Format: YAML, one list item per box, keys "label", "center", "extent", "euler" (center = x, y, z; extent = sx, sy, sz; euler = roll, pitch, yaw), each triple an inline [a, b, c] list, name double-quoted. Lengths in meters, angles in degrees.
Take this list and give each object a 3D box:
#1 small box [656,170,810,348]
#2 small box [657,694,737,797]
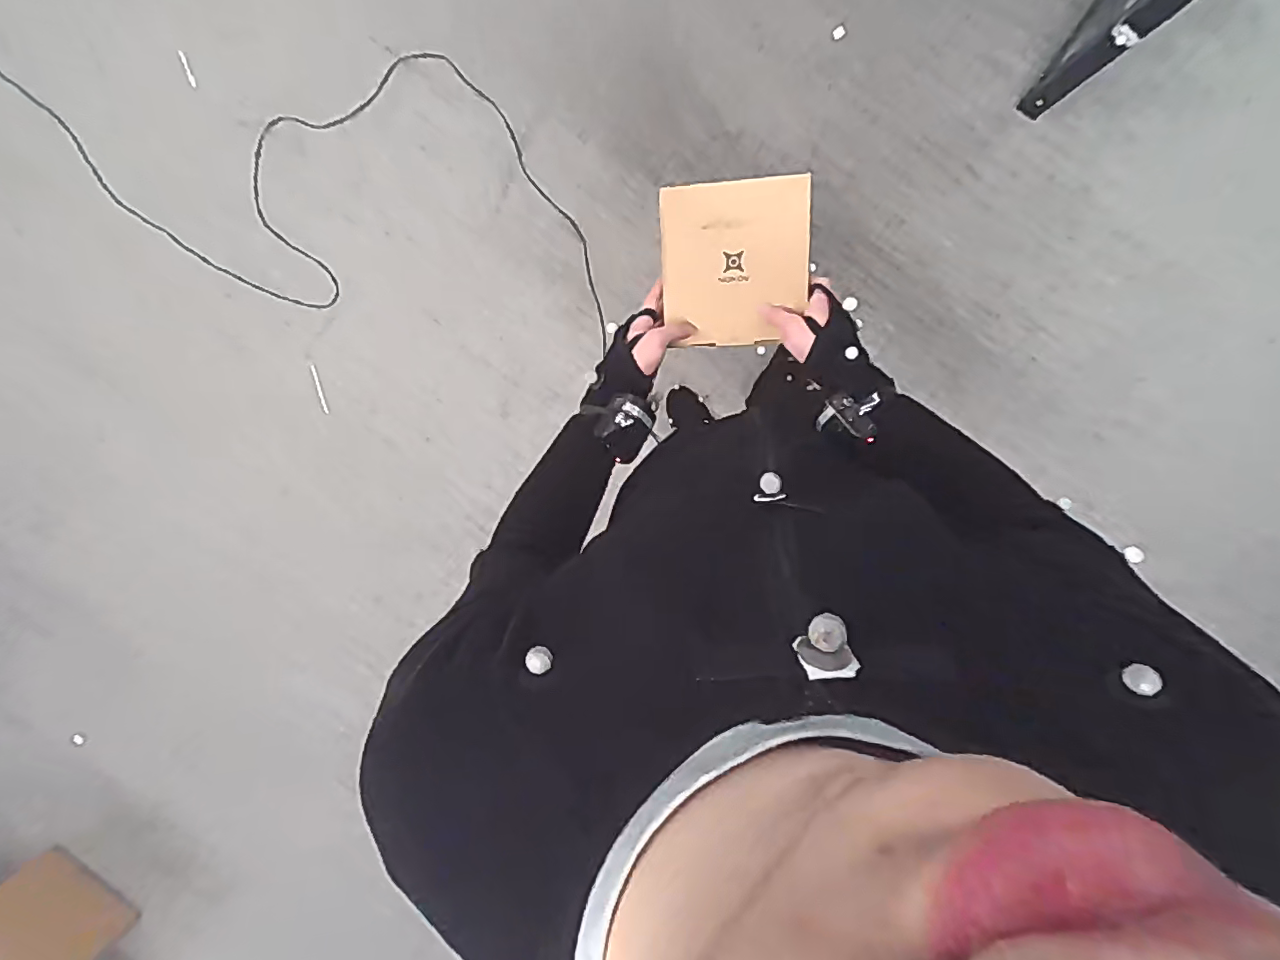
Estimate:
- label: "small box"
  center: [0.112, -0.259, 0.671]
  extent: [0.168, 0.176, 0.179]
  euler: [-1, 104, 8]
- label: "small box"
  center: [0.162, 0.773, 1.595]
  extent: [0.168, 0.176, 0.179]
  euler: [33, 101, -2]
